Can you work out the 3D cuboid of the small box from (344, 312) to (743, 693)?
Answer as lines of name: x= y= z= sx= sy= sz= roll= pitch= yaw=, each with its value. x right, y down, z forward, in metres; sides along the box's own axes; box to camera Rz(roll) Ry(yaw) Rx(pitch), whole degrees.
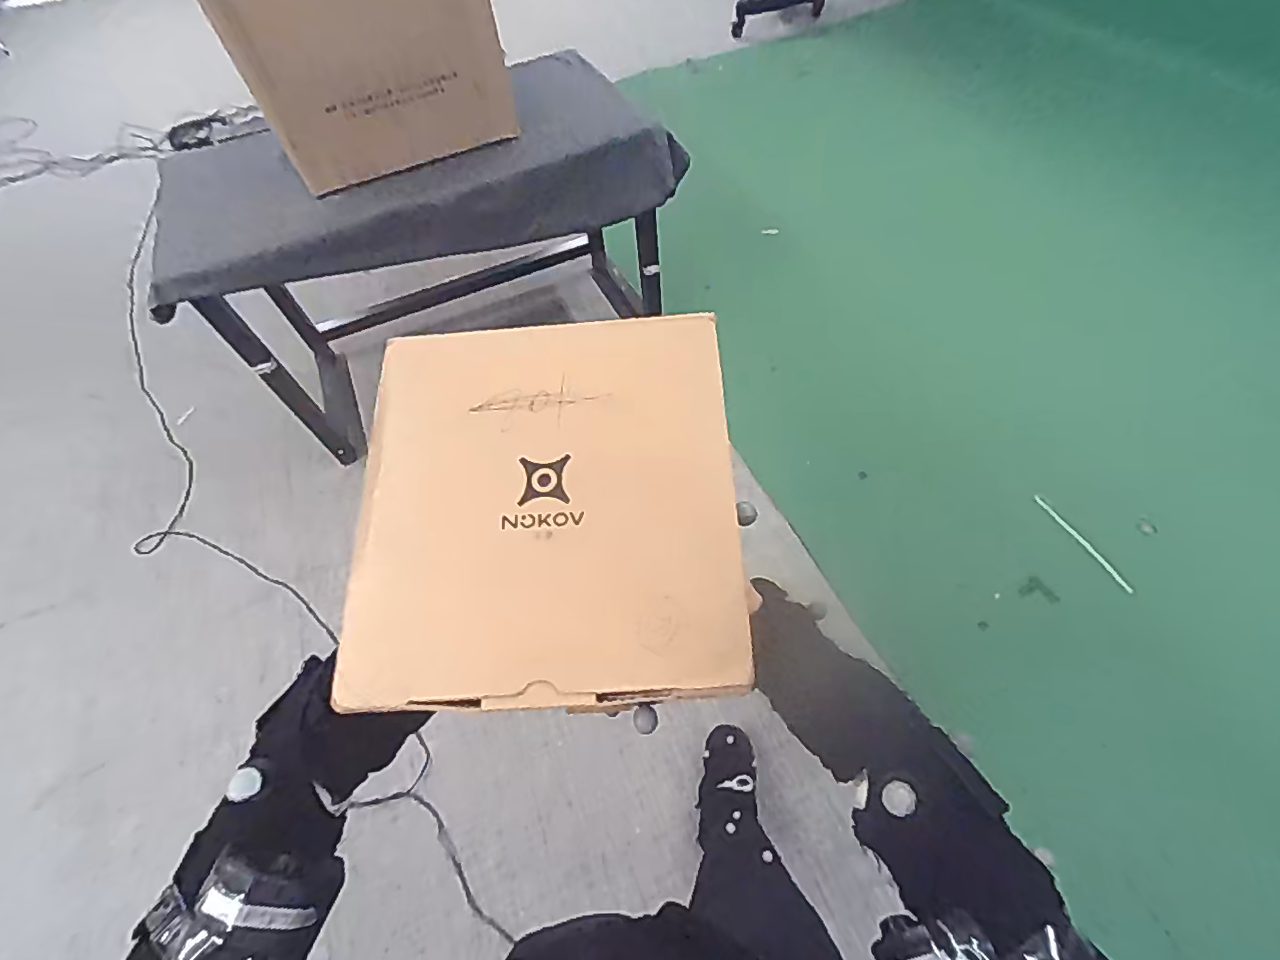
small box: x=-0.038 y=0.029 z=0.319 sx=0.168 sy=0.176 sz=0.179 roll=-4 pitch=66 yaw=1
